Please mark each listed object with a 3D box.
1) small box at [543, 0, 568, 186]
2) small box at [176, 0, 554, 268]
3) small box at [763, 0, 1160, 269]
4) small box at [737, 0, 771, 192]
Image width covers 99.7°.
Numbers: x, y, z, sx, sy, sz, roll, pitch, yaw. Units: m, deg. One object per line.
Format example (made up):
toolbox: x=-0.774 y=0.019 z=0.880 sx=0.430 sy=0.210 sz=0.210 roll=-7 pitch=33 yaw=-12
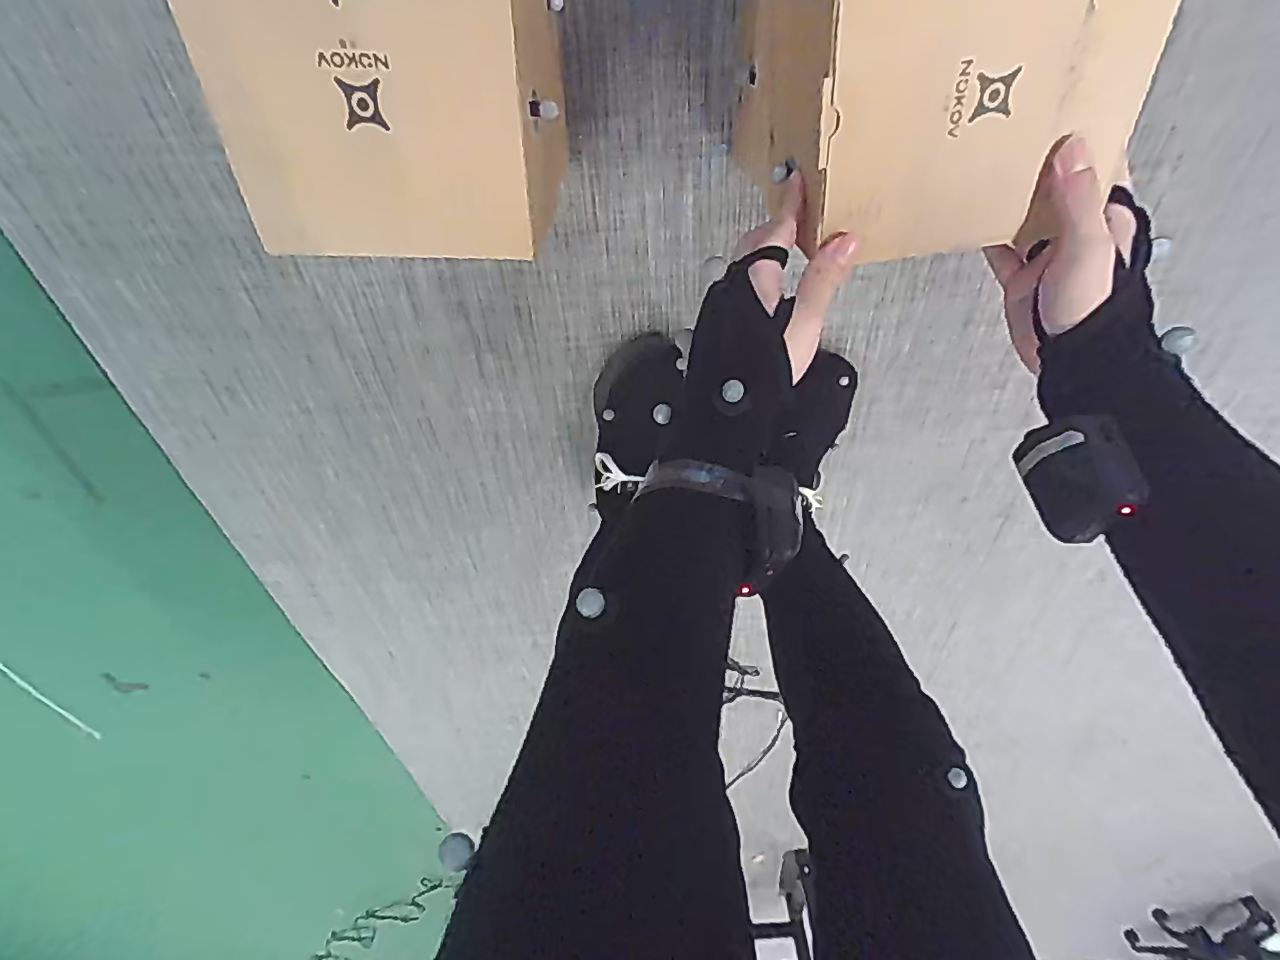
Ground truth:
small box: x=-0.158 y=-0.357 z=0.487 sx=0.168 sy=0.176 sz=0.179 roll=-1 pitch=127 yaw=-1
small box: x=-0.150 y=-0.256 z=0.357 sx=0.168 sy=0.176 sz=0.179 roll=0 pitch=127 yaw=-2
small box: x=0.183 y=-0.260 z=0.364 sx=0.179 sy=0.176 sz=0.168 roll=-7 pitch=129 yaw=4
small box: x=0.186 y=-0.367 z=0.486 sx=0.179 sy=0.176 sz=0.168 roll=-3 pitch=129 yaw=2
